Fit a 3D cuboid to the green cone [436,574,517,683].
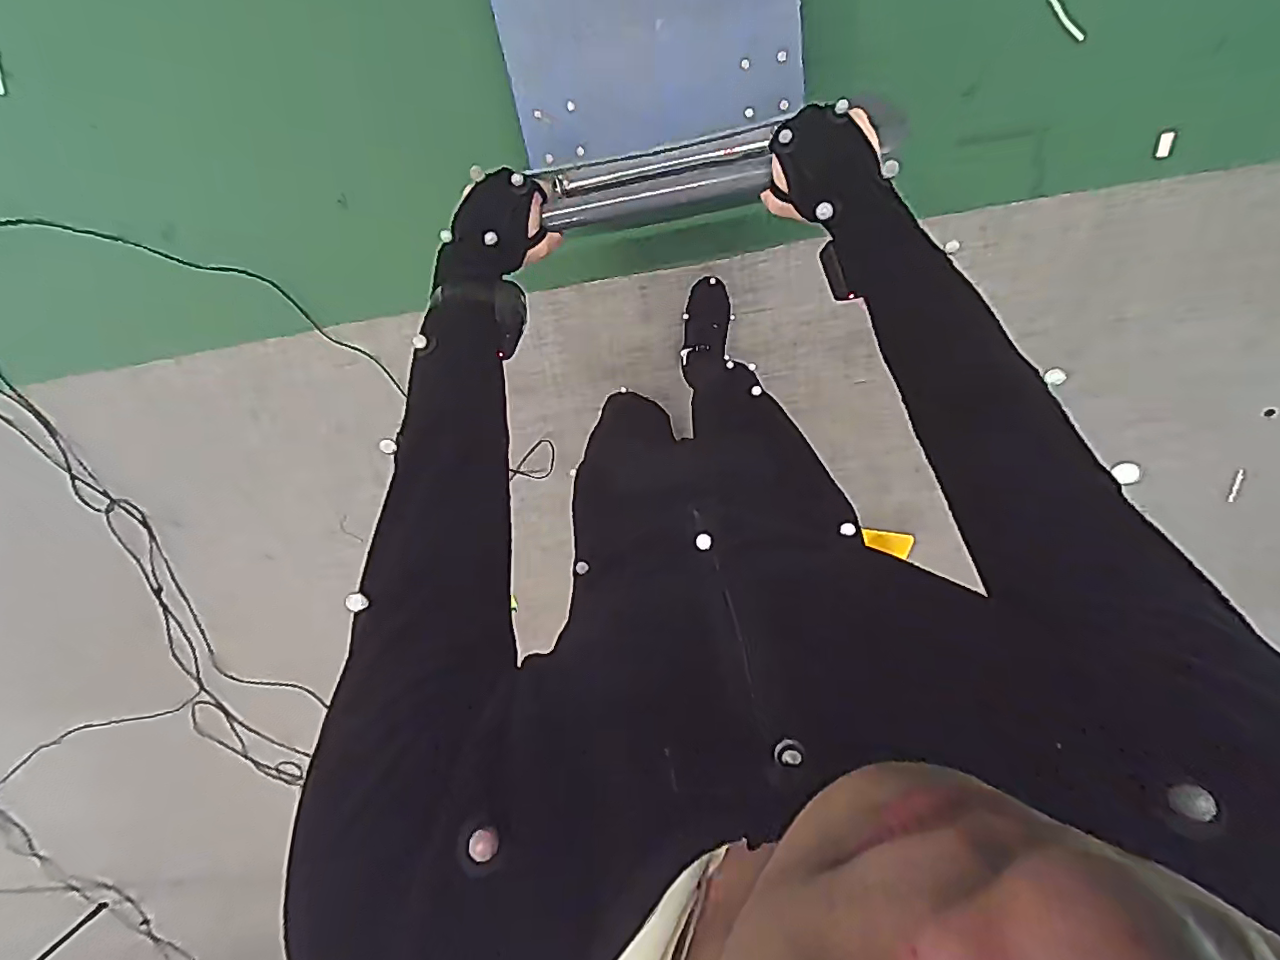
[{"bbox_3d":[-0.557,0.493,1.732,0.202,0.368,0.200,-10,116,10],"label":"green cone"}]
